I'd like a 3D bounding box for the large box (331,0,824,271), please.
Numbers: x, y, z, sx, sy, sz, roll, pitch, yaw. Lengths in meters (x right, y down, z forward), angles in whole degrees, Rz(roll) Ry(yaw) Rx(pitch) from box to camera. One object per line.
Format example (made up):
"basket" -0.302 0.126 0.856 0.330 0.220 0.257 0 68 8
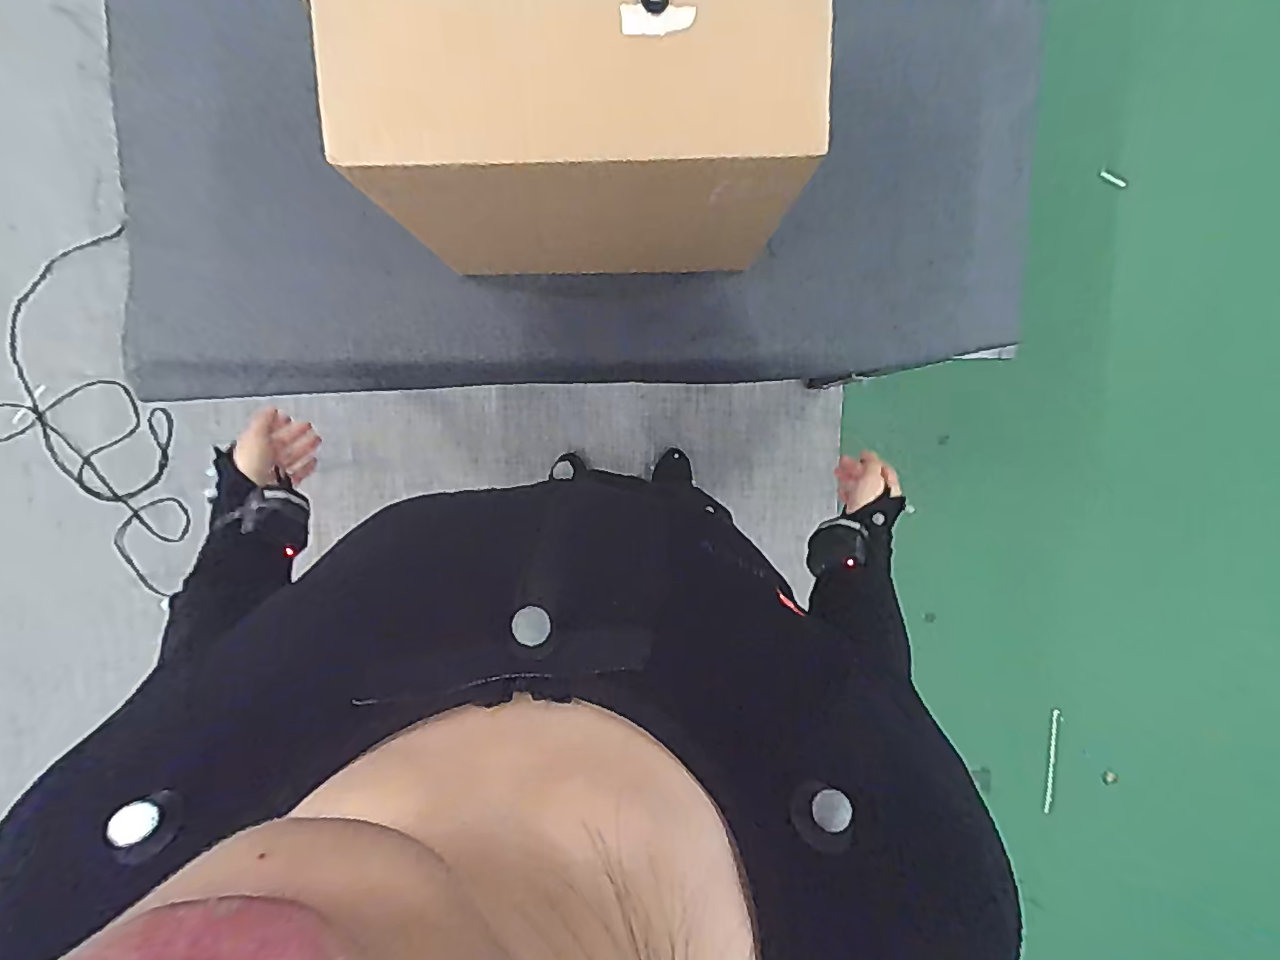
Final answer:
"large box" -0.054 -0.432 0.582 0.408 0.320 0.320 -2 96 -1
